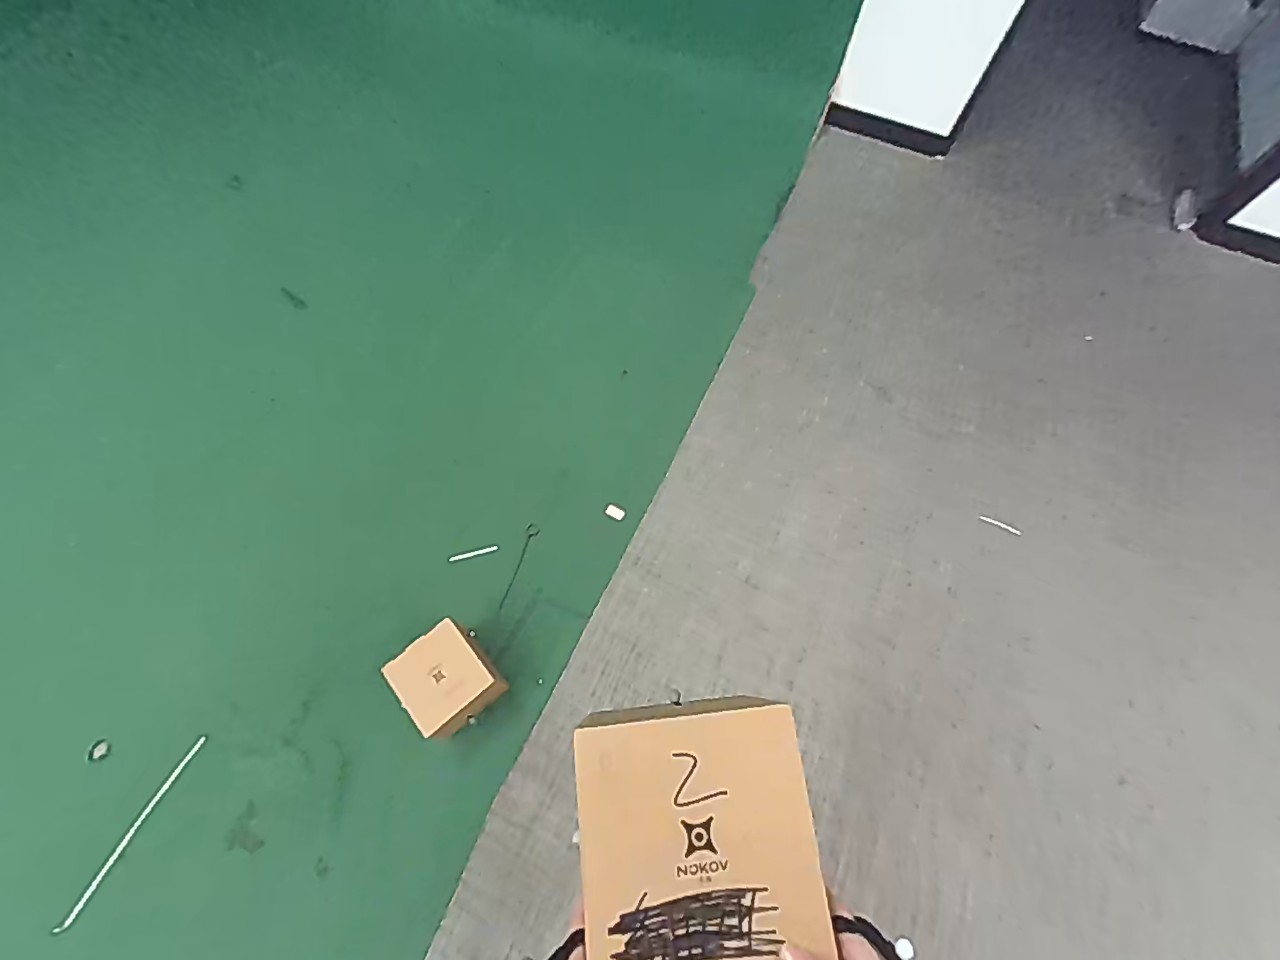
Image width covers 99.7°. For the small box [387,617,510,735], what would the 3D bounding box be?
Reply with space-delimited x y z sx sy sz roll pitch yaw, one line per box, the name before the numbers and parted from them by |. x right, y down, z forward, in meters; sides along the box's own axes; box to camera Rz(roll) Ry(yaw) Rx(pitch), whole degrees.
small box | -0.411 0.433 1.184 0.168 0.176 0.179 -38 72 -17
